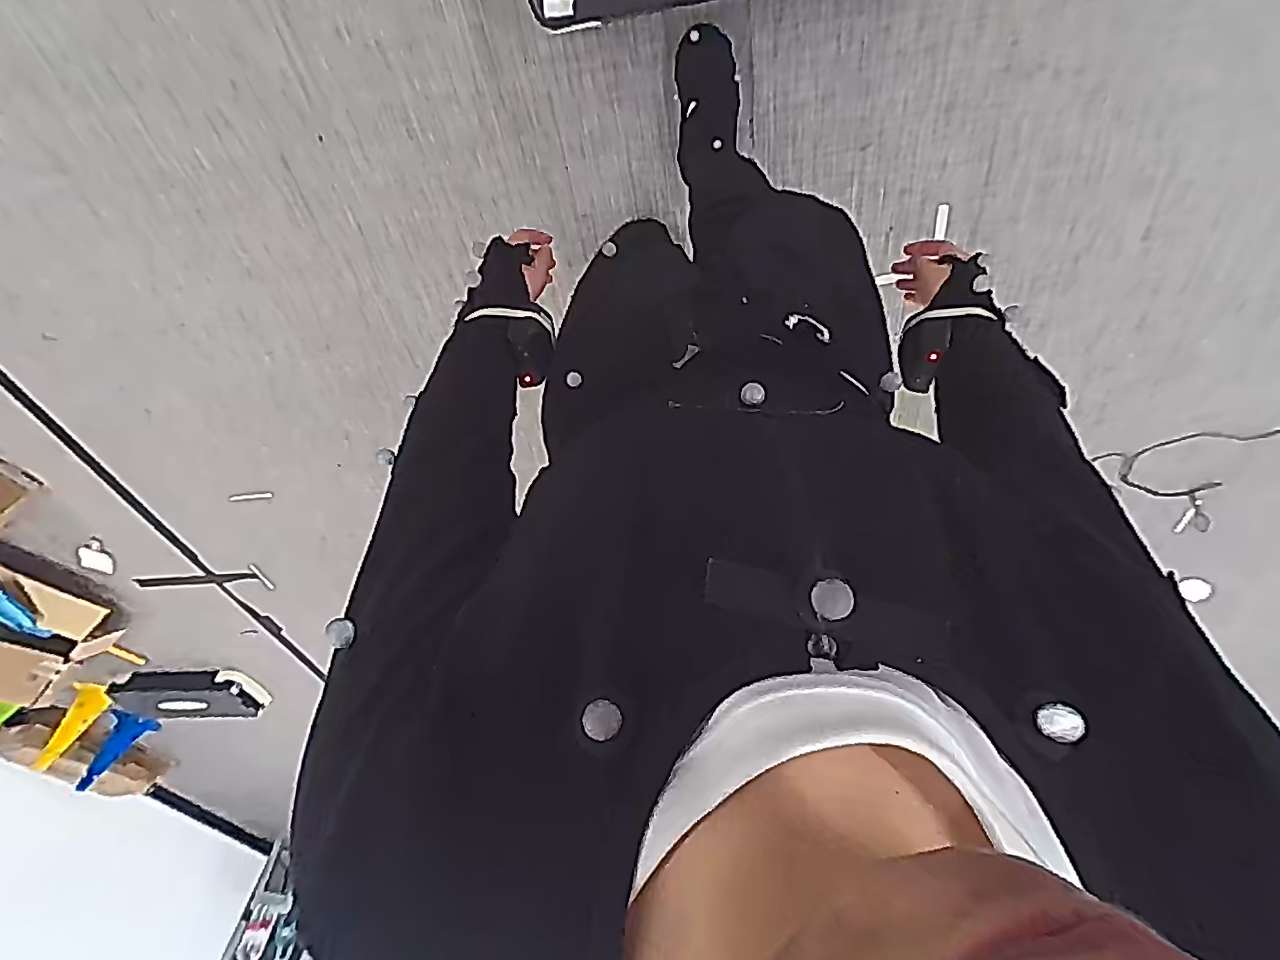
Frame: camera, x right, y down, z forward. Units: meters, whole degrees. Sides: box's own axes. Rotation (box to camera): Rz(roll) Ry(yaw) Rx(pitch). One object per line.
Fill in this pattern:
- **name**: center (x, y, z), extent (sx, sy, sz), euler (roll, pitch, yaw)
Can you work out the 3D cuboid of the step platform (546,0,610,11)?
- **step platform**: center (0.151, -0.885, 0.733), extent (0.684, 0.204, 0.286), euler (-5, 130, 8)
